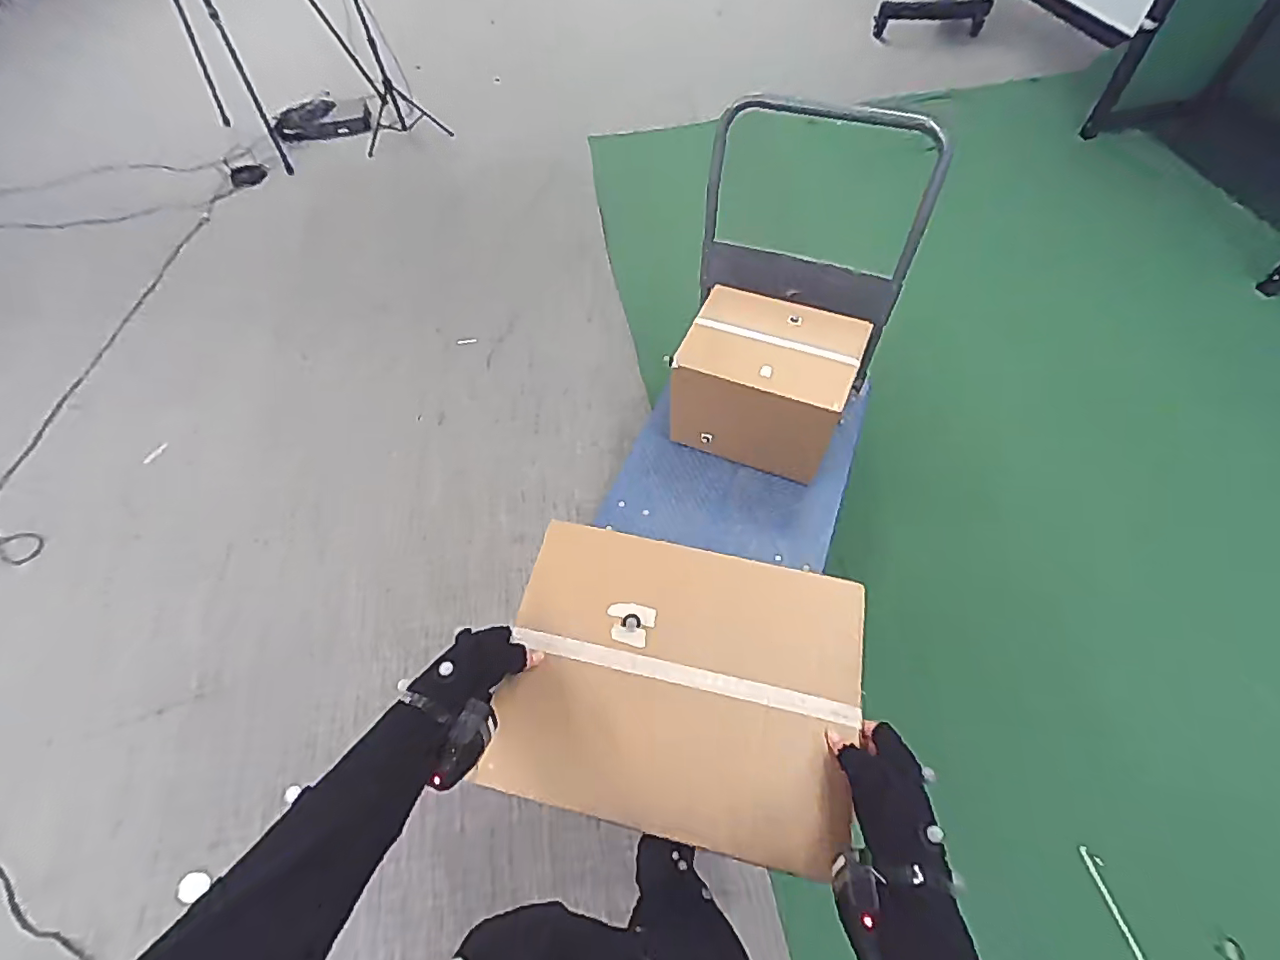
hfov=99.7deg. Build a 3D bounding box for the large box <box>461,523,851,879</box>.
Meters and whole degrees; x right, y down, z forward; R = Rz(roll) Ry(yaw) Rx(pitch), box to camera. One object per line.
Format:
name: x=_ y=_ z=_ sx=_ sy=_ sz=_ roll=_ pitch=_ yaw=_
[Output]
large box: x=0.040 y=0.289 z=0.753 sx=0.408 sy=0.320 sz=0.320 roll=11 pitch=64 yaw=9
